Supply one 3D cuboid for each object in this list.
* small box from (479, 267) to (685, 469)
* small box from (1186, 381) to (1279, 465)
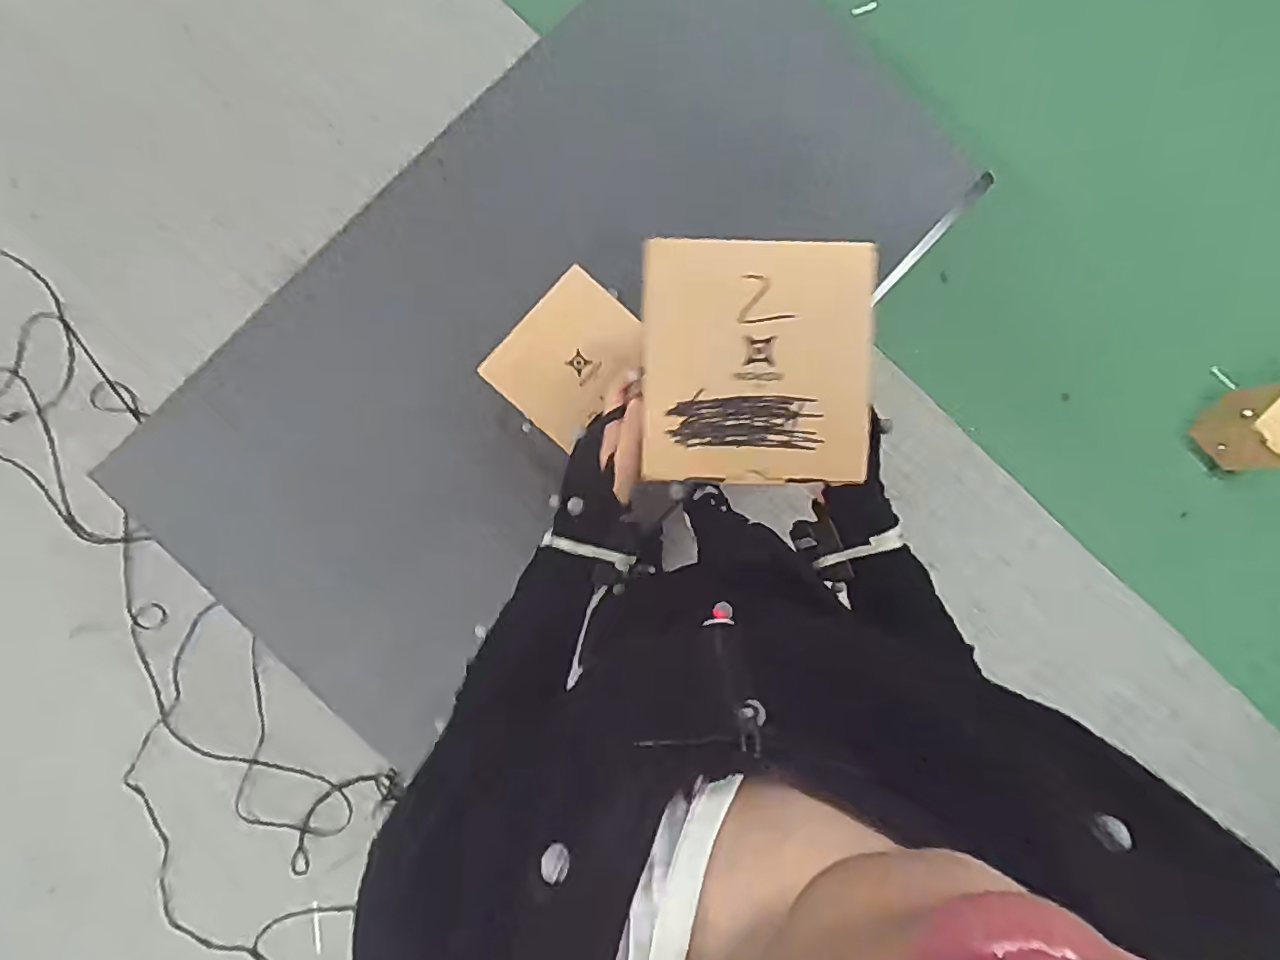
[{"bbox_3d":[-0.068,-0.124,0.688,0.179,0.176,0.168,42,88,-2],"label":"small box"},{"bbox_3d":[1.720,-0.157,1.521,0.179,0.176,0.168,-45,92,-2],"label":"small box"}]
